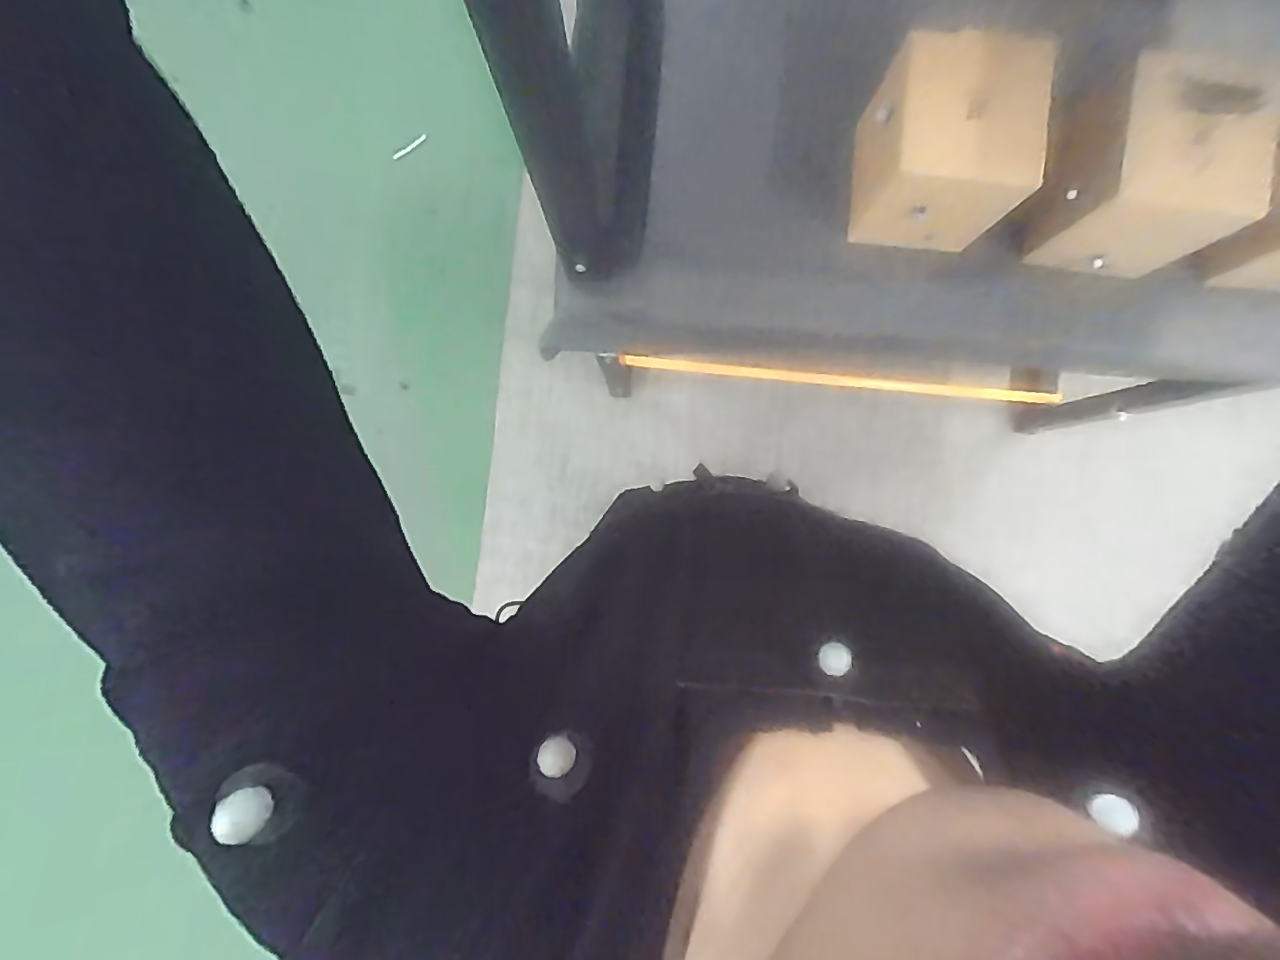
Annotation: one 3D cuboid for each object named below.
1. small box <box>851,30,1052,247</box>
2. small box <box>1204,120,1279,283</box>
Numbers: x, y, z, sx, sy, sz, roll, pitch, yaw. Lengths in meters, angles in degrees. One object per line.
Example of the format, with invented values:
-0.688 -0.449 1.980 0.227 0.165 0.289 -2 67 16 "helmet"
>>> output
0.389 -0.427 0.704 0.168 0.176 0.179 6 87 2 "small box"
0.877 -0.362 0.683 0.168 0.176 0.179 5 86 2 "small box"
